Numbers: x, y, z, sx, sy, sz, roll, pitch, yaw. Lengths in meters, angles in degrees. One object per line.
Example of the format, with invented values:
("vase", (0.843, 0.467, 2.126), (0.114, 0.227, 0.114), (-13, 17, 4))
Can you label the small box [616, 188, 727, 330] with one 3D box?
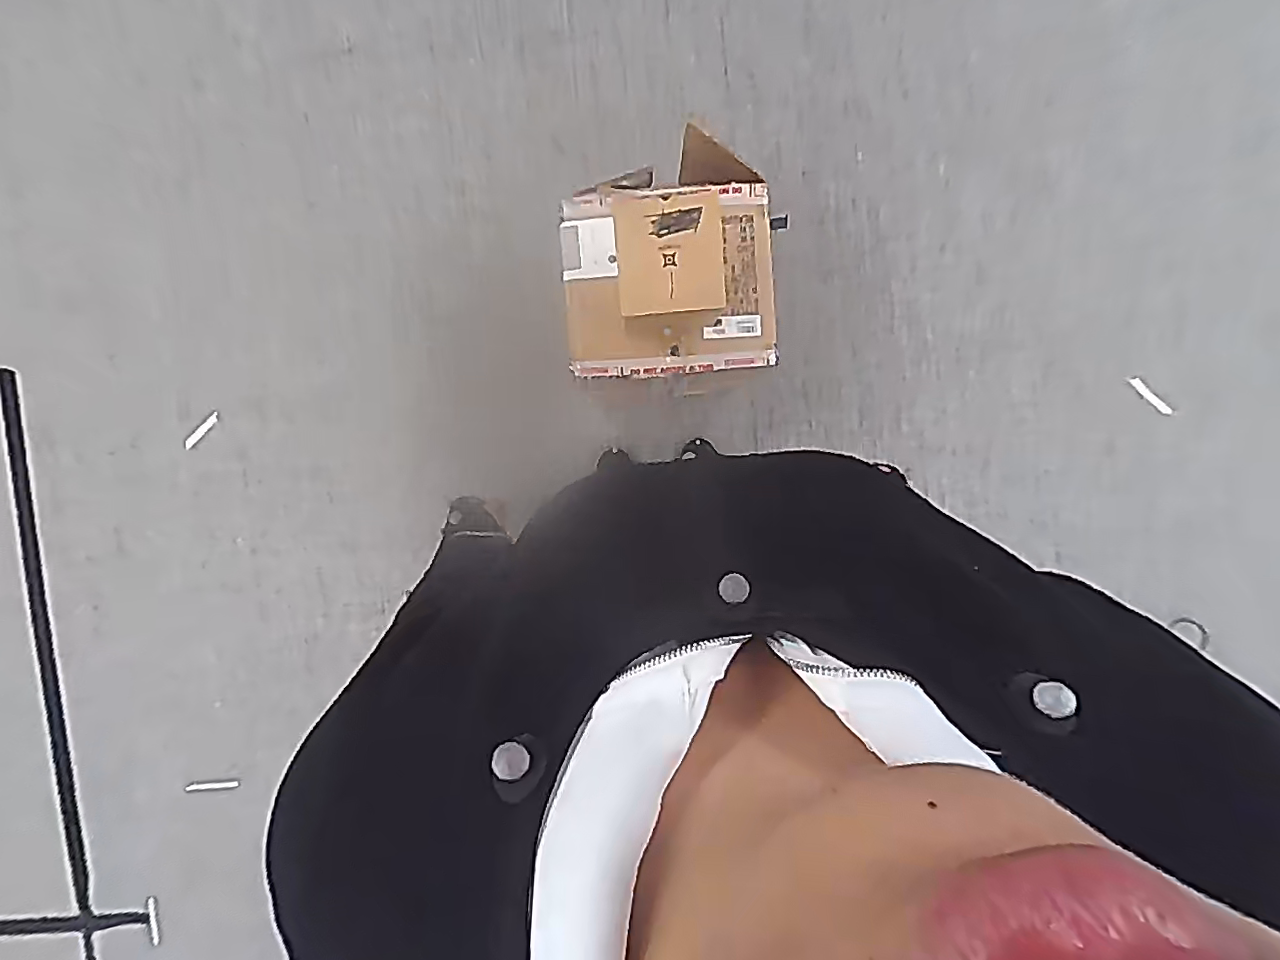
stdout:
("small box", (0.048, -0.359, 0.906), (0.168, 0.176, 0.179), (-4, 97, 1))
